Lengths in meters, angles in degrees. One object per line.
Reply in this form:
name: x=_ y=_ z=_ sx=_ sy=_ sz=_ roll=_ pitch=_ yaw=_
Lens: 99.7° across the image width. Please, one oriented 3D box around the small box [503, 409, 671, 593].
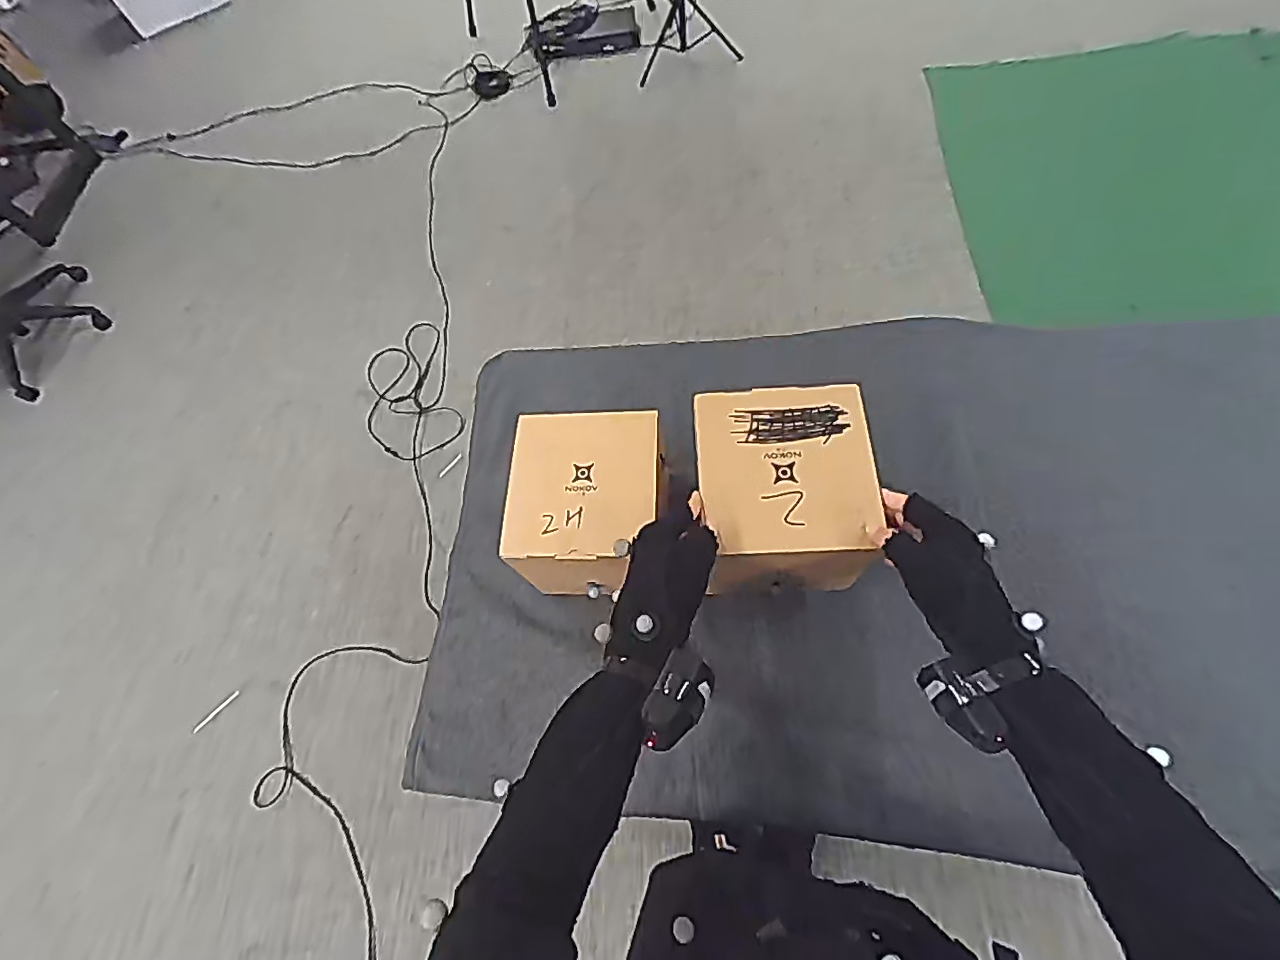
small box: x=-0.051 y=0.031 z=0.663 sx=0.168 sy=0.176 sz=0.179 roll=-1 pitch=65 yaw=8
